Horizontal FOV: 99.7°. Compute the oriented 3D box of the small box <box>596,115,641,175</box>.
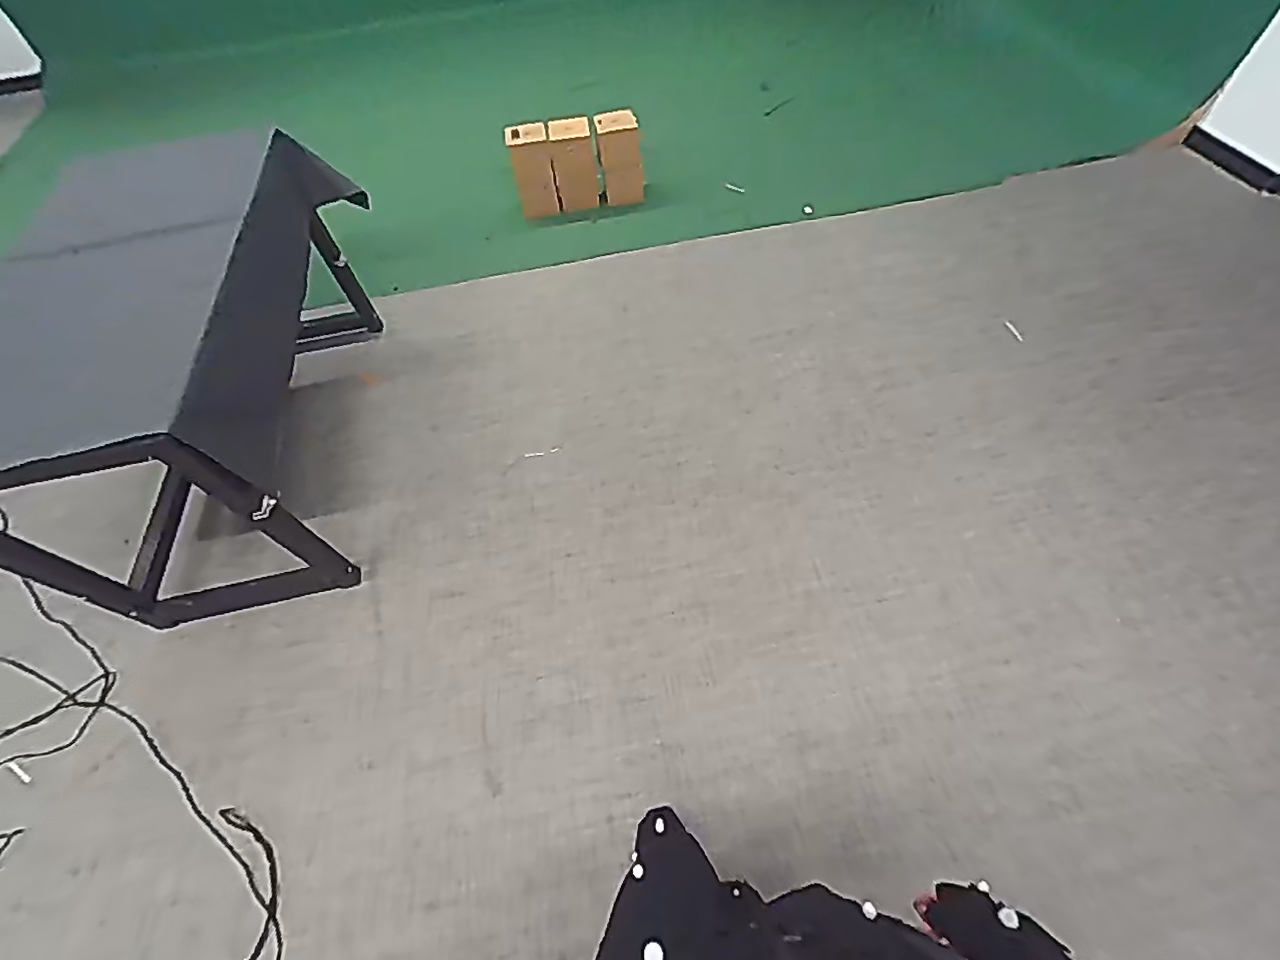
[{"bbox_3d":[-0.093,-1.496,2.419,0.179,0.176,0.168,-11,57,-4],"label":"small box"}]
